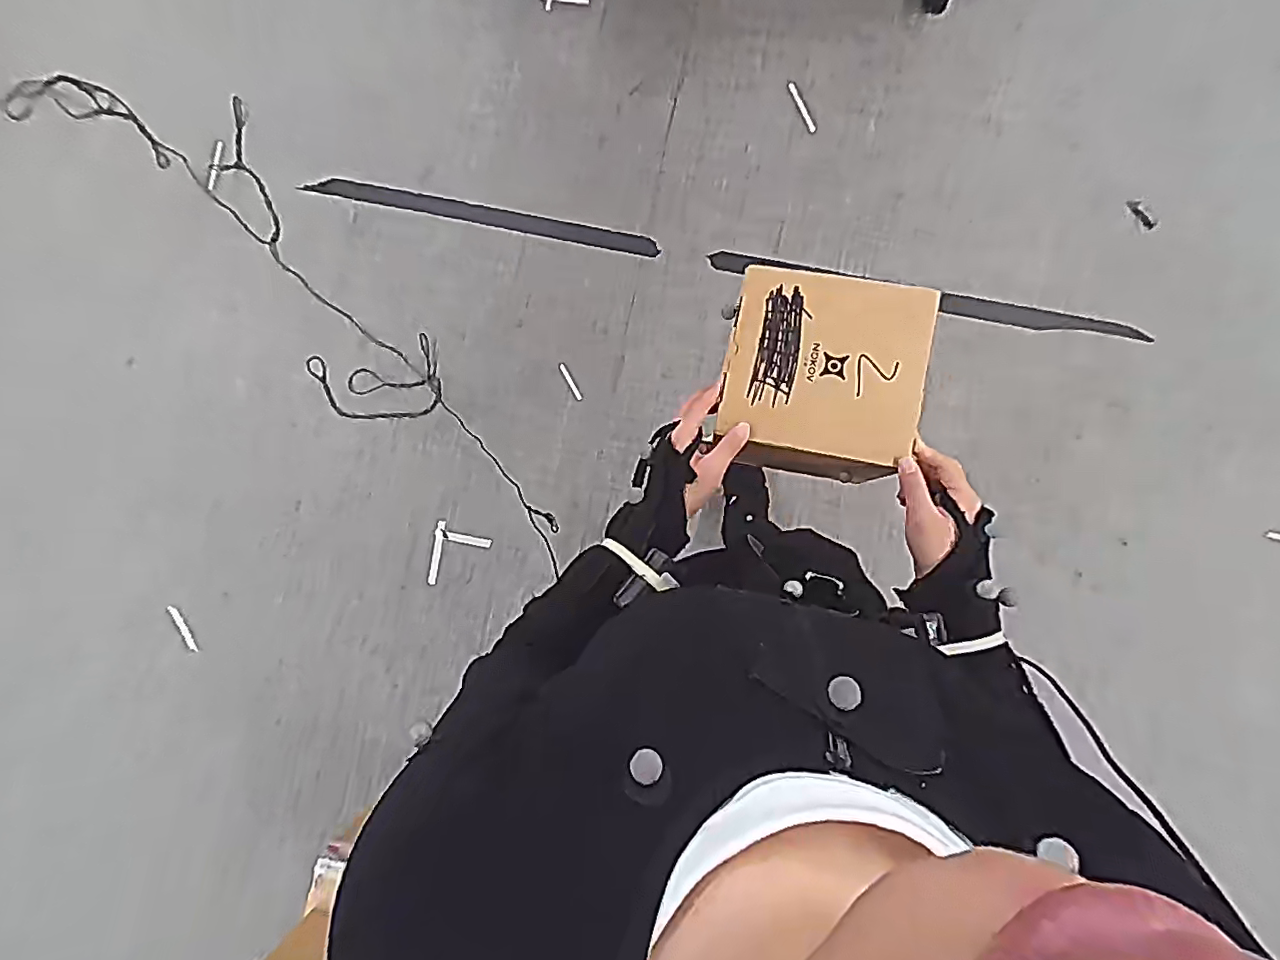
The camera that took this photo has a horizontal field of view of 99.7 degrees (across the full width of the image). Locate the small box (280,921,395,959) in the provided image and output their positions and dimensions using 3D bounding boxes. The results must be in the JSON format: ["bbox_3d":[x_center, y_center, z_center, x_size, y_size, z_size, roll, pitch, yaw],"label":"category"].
[{"bbox_3d":[-0.529,0.872,0.869,0.179,0.176,0.168,18,89,9],"label":"small box"}]
